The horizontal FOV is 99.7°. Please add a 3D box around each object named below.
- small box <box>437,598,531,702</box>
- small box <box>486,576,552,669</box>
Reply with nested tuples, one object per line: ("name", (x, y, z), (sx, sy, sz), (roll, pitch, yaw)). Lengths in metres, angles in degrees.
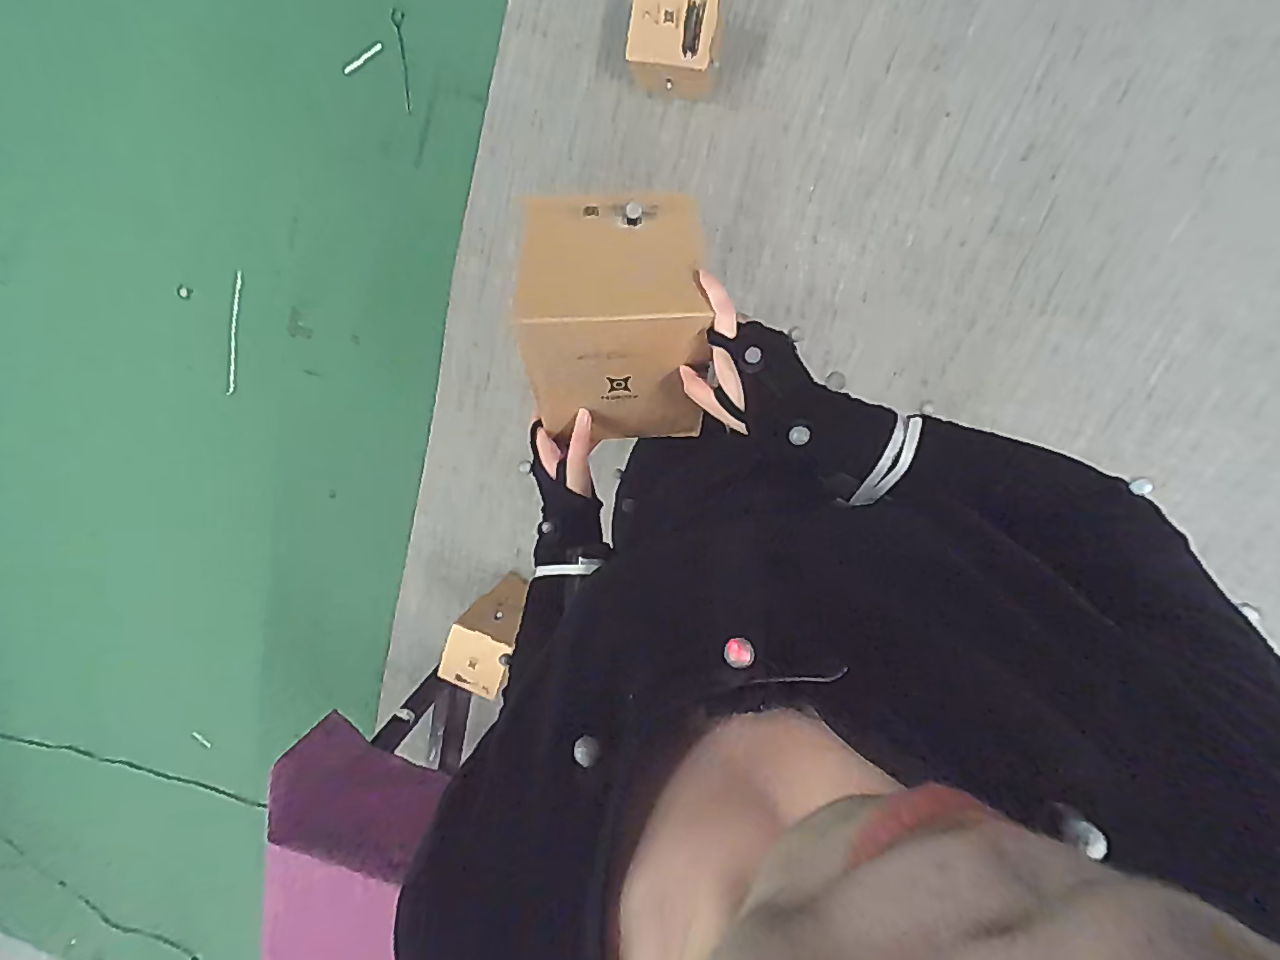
("small box", (-0.409, 0.447, 1.449), (0.168, 0.176, 0.179), (24, 106, 4))
("small box", (-0.380, 0.415, 1.607), (0.168, 0.176, 0.179), (27, 108, 3))
